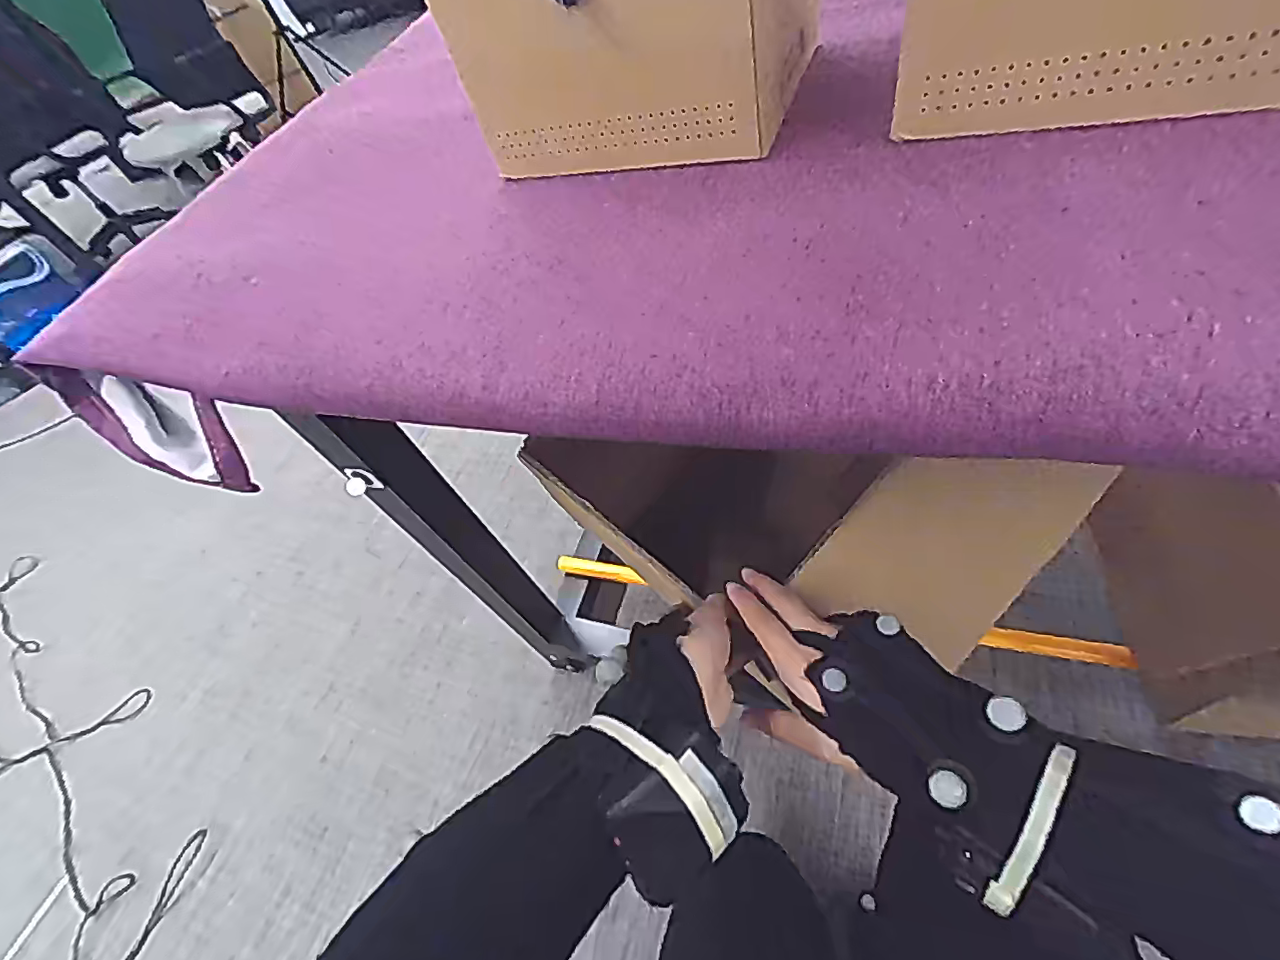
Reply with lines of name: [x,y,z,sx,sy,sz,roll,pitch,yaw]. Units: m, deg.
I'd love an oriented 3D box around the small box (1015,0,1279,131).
small box: [0.257,-0.272,0.184,0.179,0.176,0.168,-11,90,14]
